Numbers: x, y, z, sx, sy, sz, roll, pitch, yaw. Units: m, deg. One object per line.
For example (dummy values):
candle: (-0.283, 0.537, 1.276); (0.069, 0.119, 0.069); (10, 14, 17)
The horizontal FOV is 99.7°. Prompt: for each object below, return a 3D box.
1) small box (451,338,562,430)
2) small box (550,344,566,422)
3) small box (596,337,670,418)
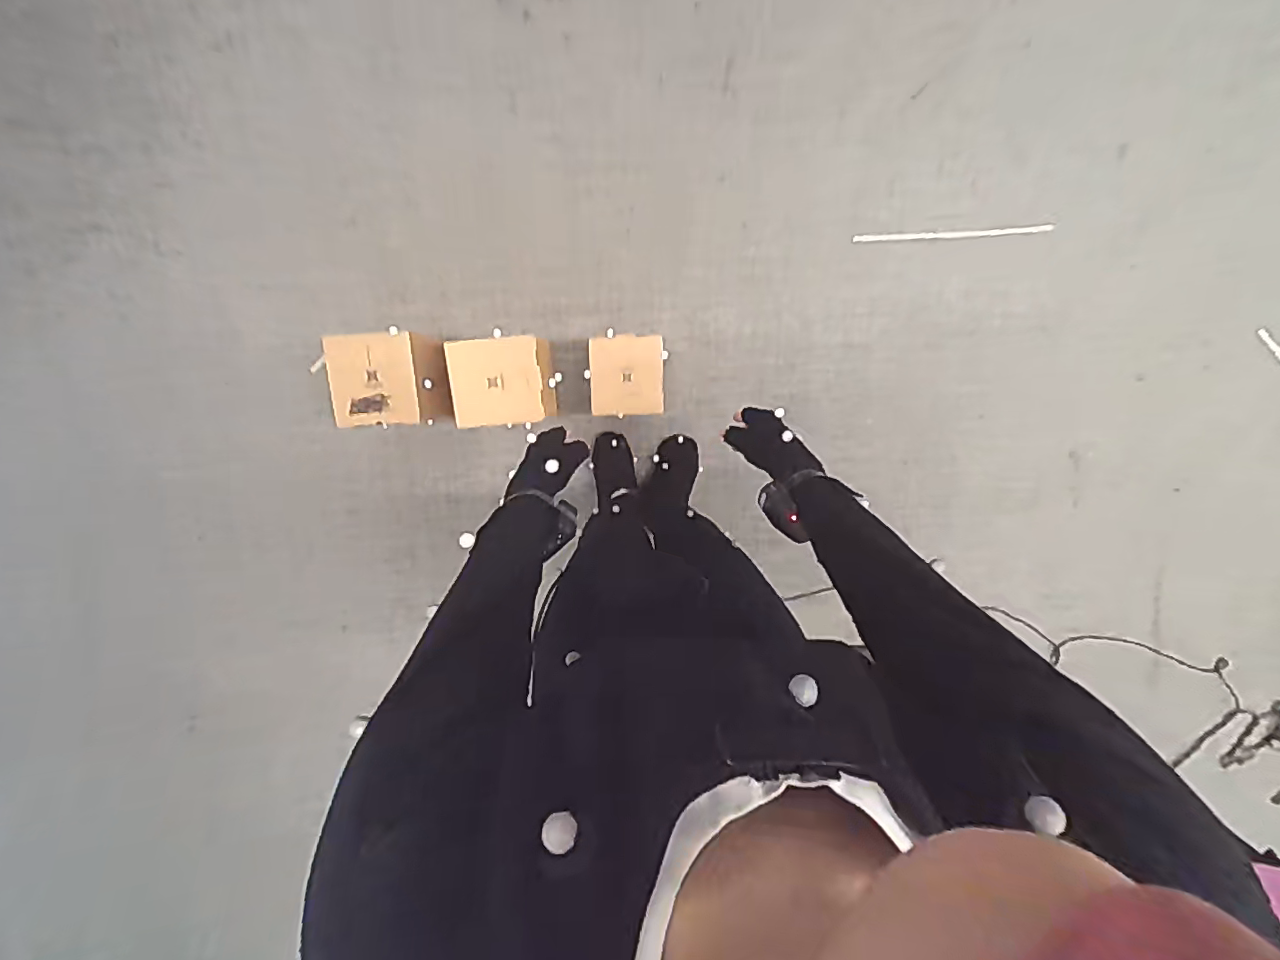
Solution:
small box: (-0.266, -0.197, 1.117); (0.179, 0.176, 0.168); (-6, 102, 0)
small box: (-0.274, -0.226, 1.277); (0.168, 0.176, 0.179); (-4, 101, 1)
small box: (-0.018, -0.242, 1.280); (0.168, 0.176, 0.179); (-2, 102, 0)
